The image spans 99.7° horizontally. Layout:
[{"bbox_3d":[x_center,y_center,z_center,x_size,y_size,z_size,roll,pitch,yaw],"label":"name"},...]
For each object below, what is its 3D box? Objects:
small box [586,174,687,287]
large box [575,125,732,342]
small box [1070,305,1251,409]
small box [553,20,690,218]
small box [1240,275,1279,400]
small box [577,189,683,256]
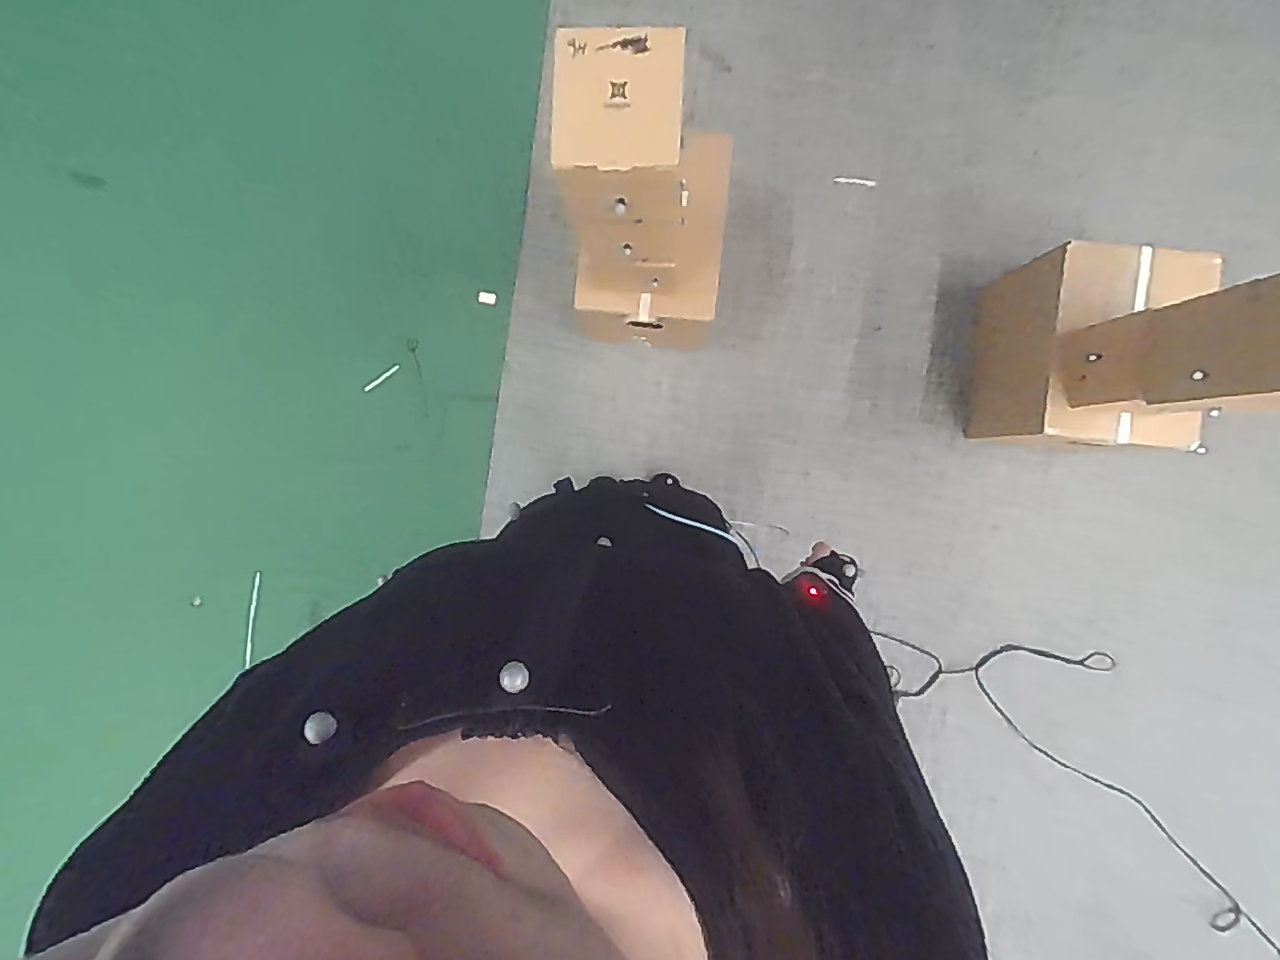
[{"bbox_3d":[-0.002,-0.496,1.081,0.179,0.176,0.168,6,92,4],"label":"small box"},{"bbox_3d":[0.038,-0.575,1.319,0.320,0.320,0.408,6,92,3],"label":"large box"},{"bbox_3d":[0.986,-0.228,1.040,0.179,0.176,0.168,5,94,4],"label":"small box"},{"bbox_3d":[-0.019,-0.486,0.753,0.168,0.176,0.179,3,93,3],"label":"small box"},{"bbox_3d":[0.969,-0.196,0.712,0.168,0.176,0.179,8,95,4],"label":"small box"},{"bbox_3d":[-0.011,-0.495,0.917,0.168,0.176,0.179,1,92,3],"label":"small box"}]
